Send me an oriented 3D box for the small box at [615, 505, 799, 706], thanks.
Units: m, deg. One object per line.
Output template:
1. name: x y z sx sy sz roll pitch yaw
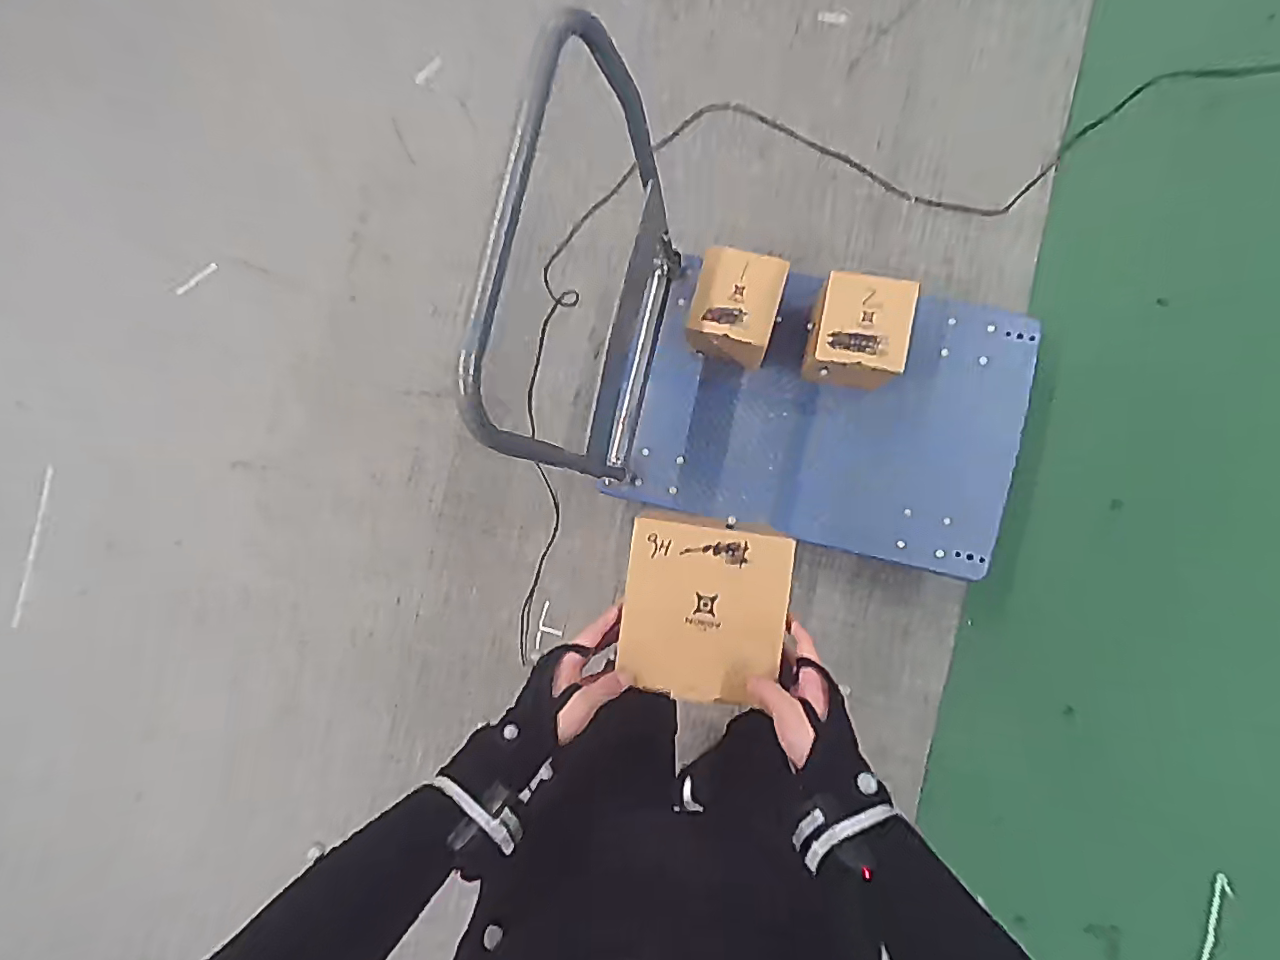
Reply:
1. small box: 0.074 0.130 0.627 0.168 0.176 0.179 8 91 5

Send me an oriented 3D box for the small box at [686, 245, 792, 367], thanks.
1. small box: 0.200 -0.349 1.121 0.168 0.176 0.179 16 89 6
